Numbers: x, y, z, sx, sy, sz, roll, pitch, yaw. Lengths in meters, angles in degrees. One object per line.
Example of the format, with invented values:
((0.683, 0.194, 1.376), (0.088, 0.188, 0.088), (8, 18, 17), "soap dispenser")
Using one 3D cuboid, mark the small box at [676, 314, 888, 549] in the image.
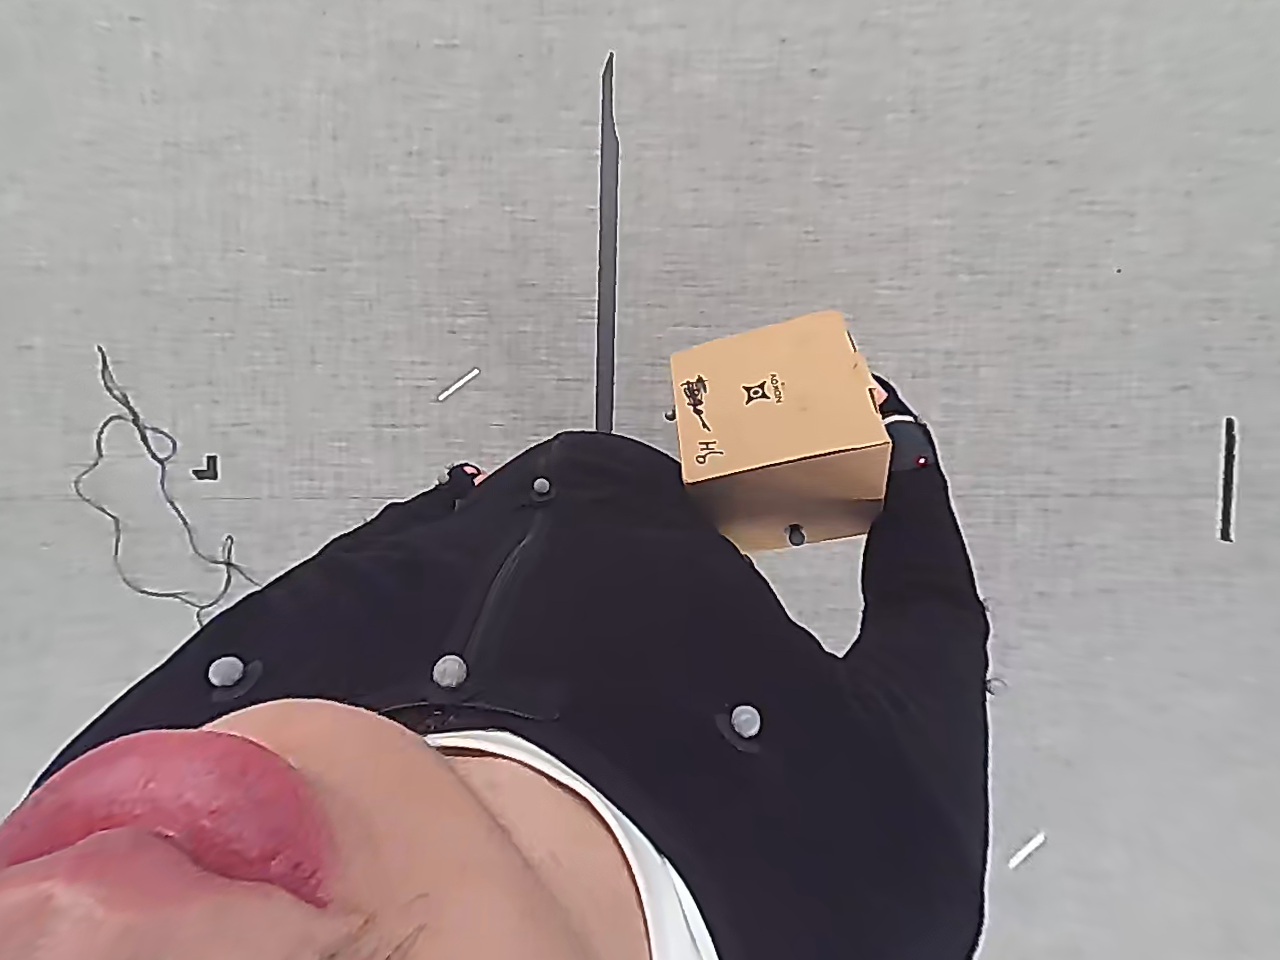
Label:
((0.146, -0.042, 0.580), (0.179, 0.176, 0.168), (-12, 55, 13), "small box")
